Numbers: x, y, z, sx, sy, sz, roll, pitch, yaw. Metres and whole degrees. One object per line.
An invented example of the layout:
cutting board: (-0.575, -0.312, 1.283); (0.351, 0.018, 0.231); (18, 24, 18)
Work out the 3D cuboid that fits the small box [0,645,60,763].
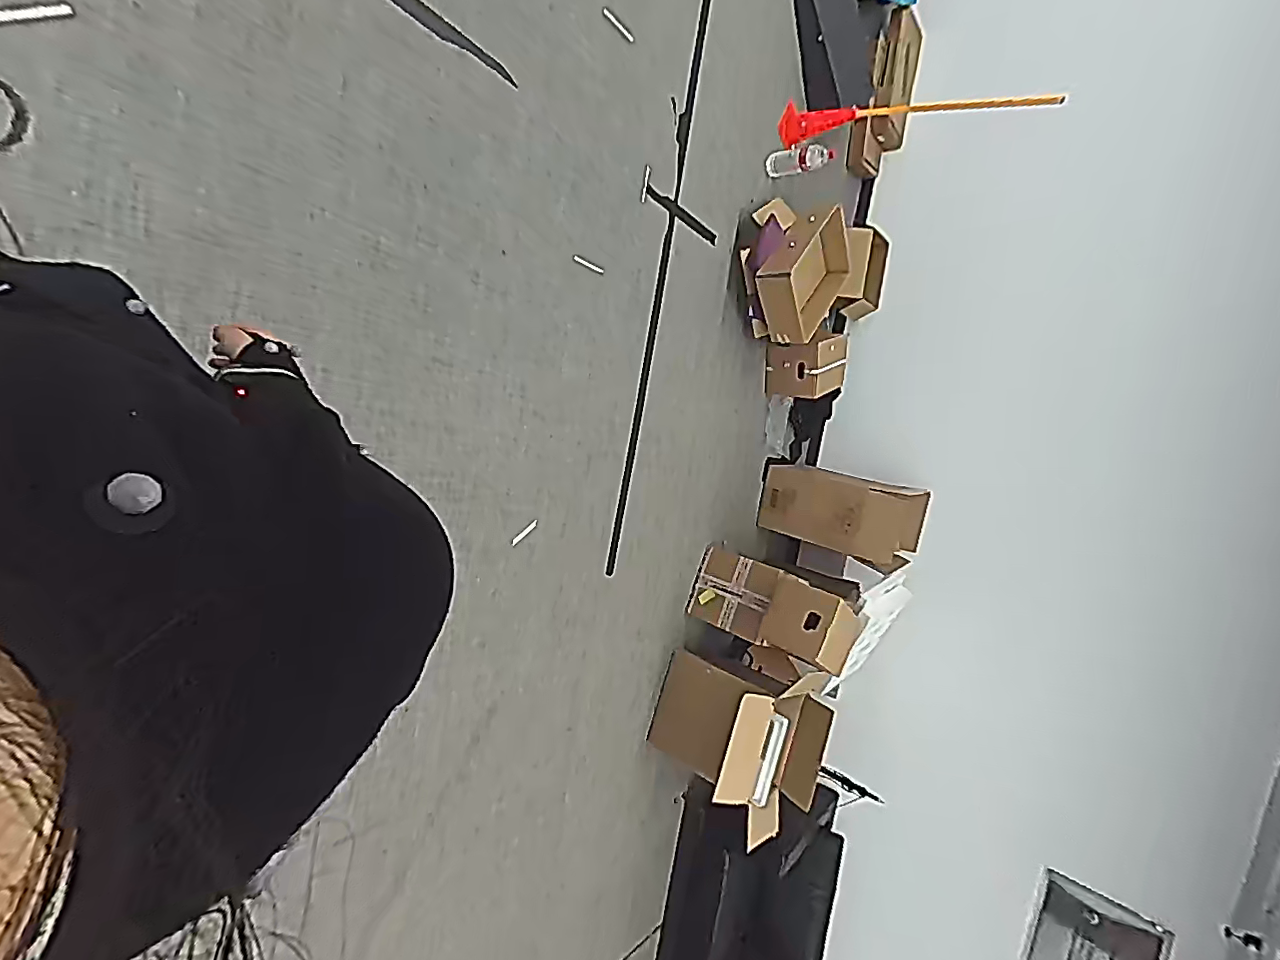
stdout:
small box: (-1.182, 0.399, 0.975); (0.168, 0.176, 0.179); (-11, 109, -50)
